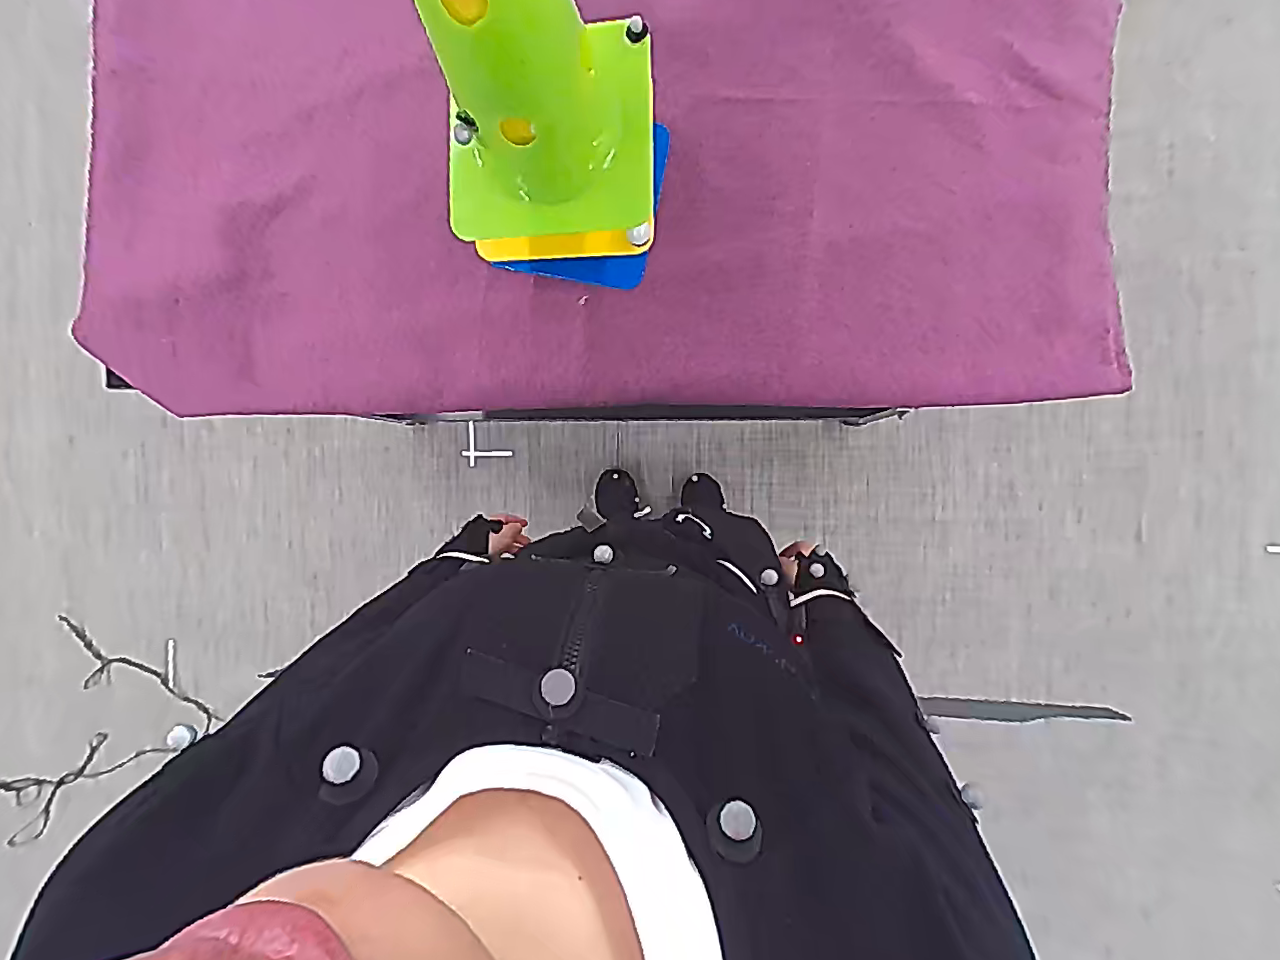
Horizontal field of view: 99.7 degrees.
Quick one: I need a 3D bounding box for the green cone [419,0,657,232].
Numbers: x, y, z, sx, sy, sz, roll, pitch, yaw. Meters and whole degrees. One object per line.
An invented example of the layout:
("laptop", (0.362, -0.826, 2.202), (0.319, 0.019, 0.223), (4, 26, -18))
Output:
("green cone", (-0.108, -0.341, 0.339), (0.200, 0.368, 0.202), (-2, 89, 8))
